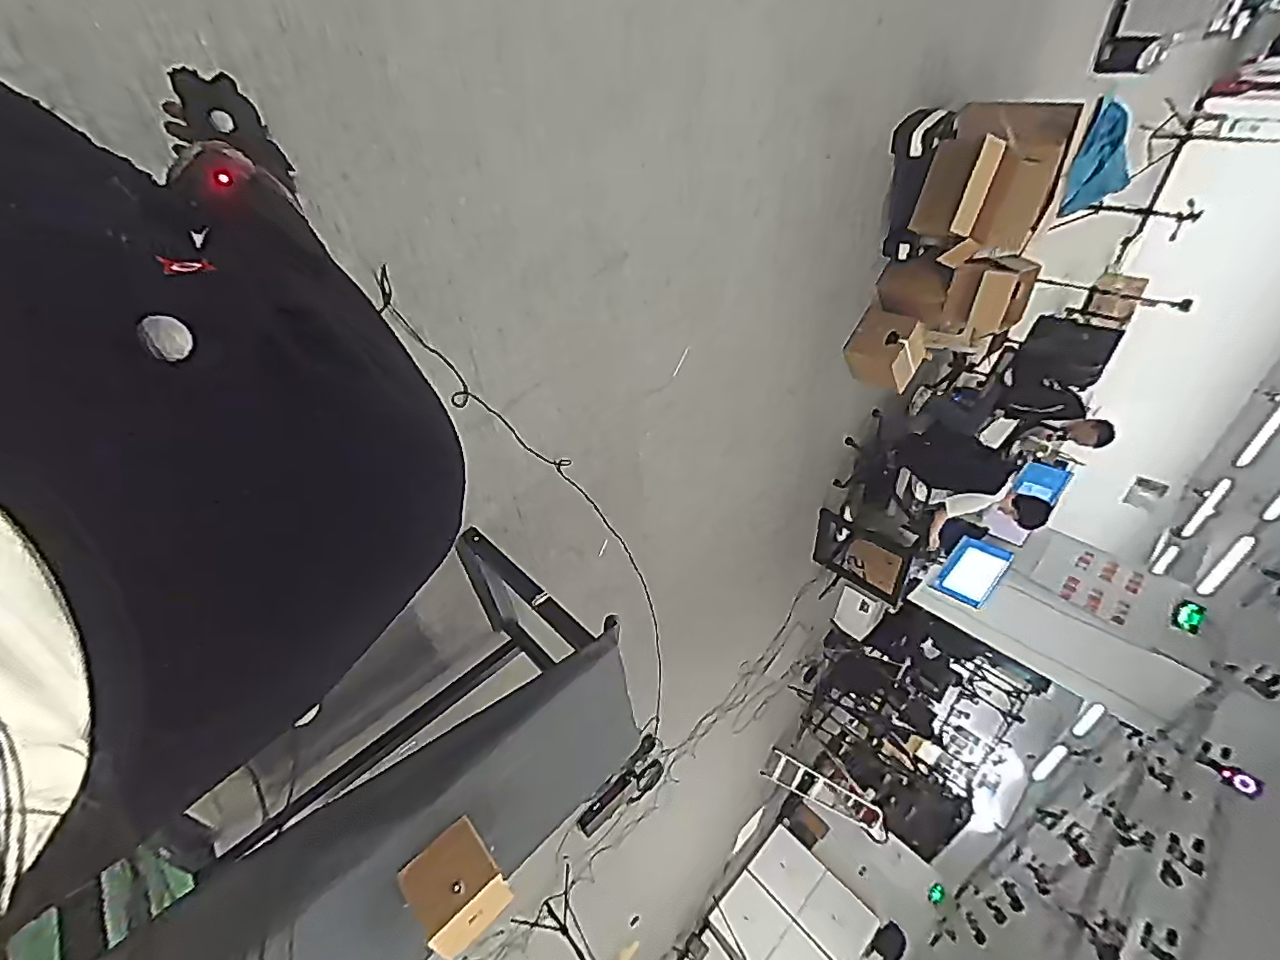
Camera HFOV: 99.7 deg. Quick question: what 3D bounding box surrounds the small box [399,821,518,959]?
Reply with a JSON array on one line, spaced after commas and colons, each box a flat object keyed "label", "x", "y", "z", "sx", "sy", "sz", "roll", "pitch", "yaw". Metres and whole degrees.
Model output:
[{"label": "small box", "x": -0.409, "y": 0.924, "z": 1.223, "sx": 0.179, "sy": 0.176, "sz": 0.168, "roll": -32, "pitch": 135, "yaw": -29}]
